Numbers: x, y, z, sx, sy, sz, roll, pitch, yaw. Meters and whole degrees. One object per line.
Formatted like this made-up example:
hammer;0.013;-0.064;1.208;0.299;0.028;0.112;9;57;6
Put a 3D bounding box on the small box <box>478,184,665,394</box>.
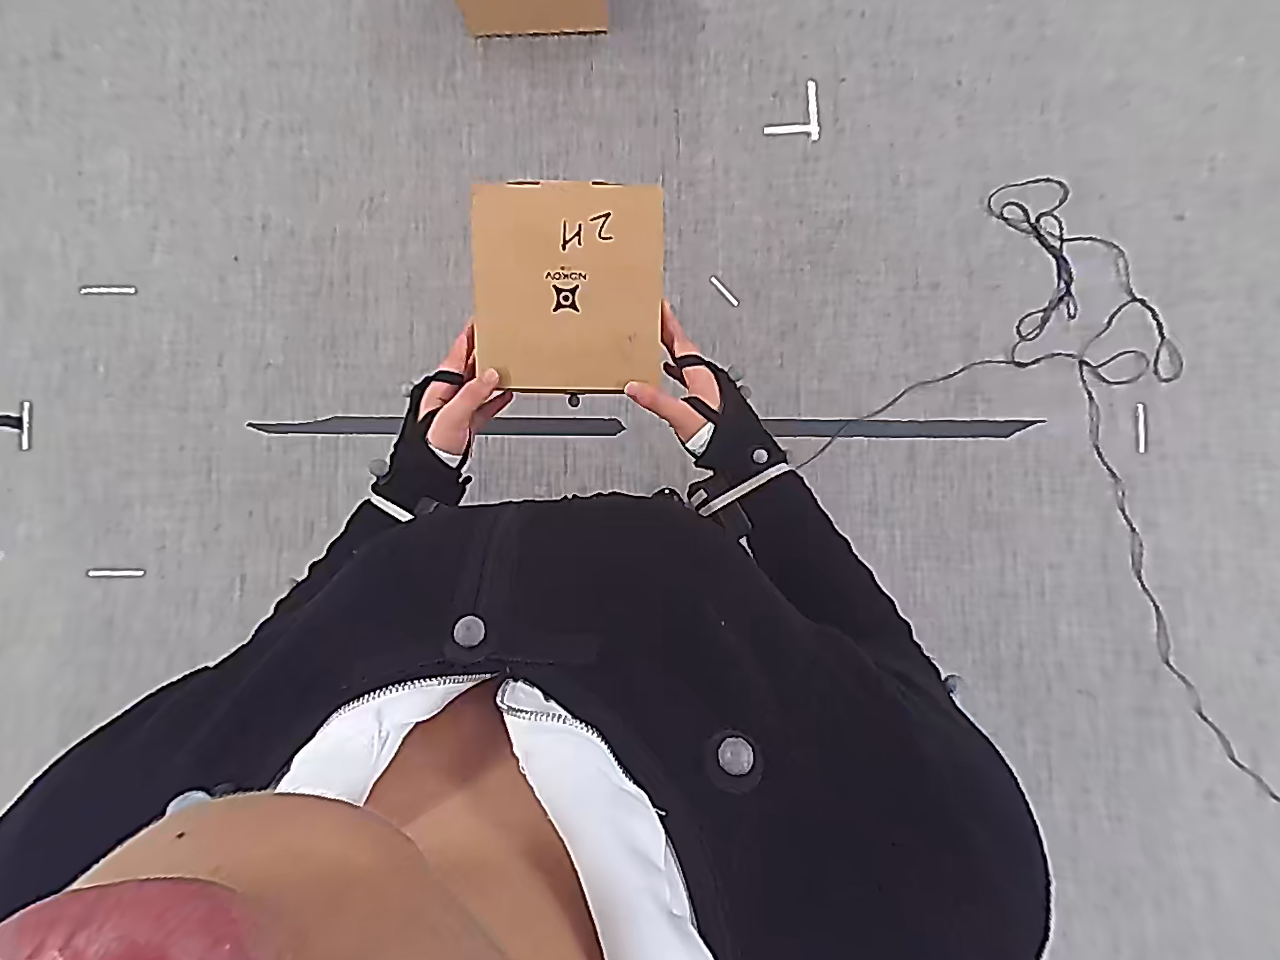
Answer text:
small box;-0.061;-0.179;0.557;0.168;0.176;0.179;1;97;-1
